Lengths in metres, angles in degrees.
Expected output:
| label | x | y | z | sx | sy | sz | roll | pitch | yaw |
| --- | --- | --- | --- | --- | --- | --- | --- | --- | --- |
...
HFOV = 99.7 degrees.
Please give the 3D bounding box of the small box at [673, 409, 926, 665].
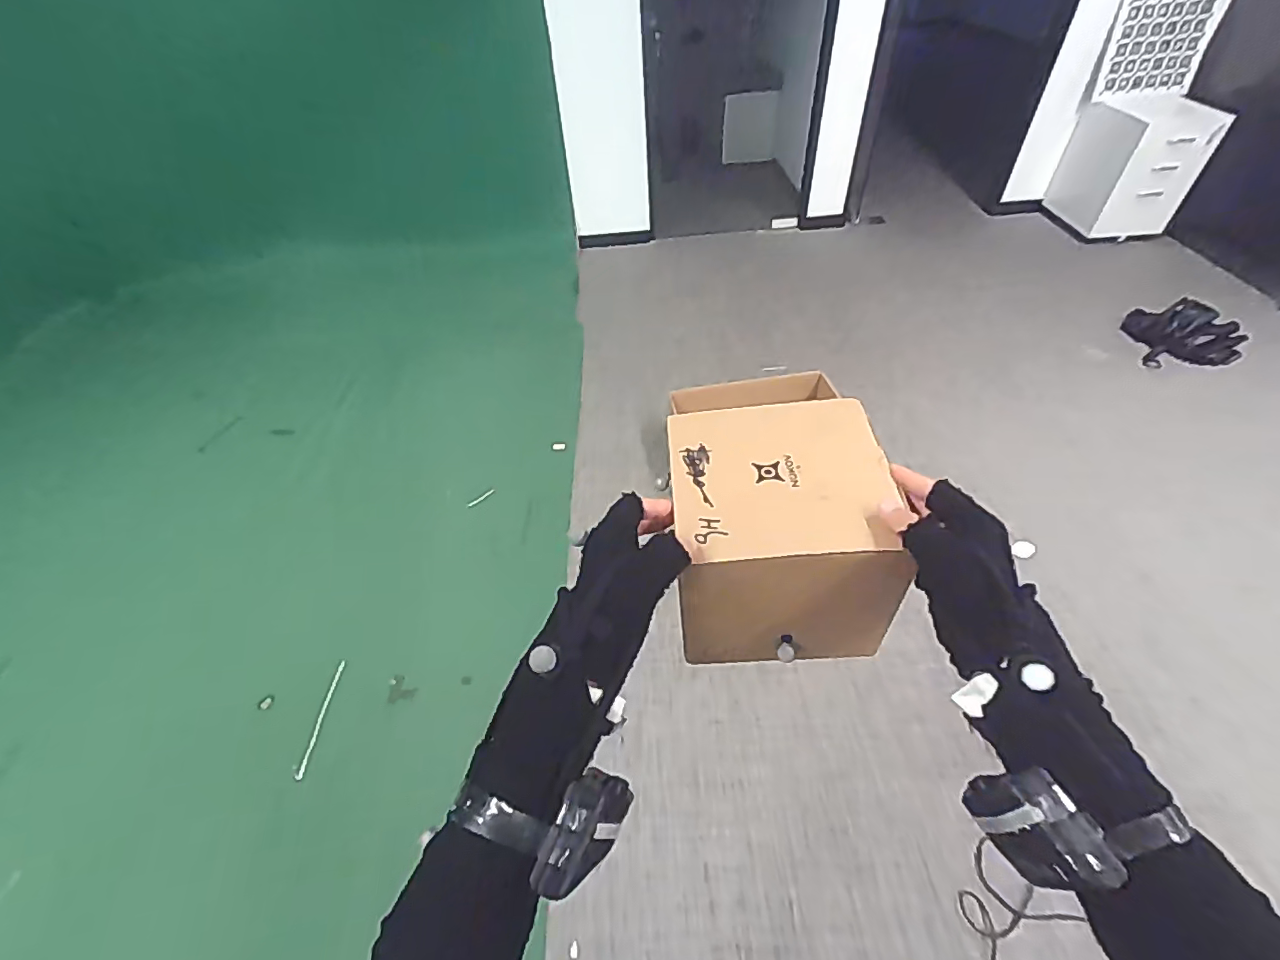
| label | x | y | z | sx | sy | sz | roll | pitch | yaw |
| --- | --- | --- | --- | --- | --- | --- | --- | --- | --- |
| small box | 0.120 | 0.055 | 0.492 | 0.179 | 0.176 | 0.168 | -3 | 46 | 3 |
